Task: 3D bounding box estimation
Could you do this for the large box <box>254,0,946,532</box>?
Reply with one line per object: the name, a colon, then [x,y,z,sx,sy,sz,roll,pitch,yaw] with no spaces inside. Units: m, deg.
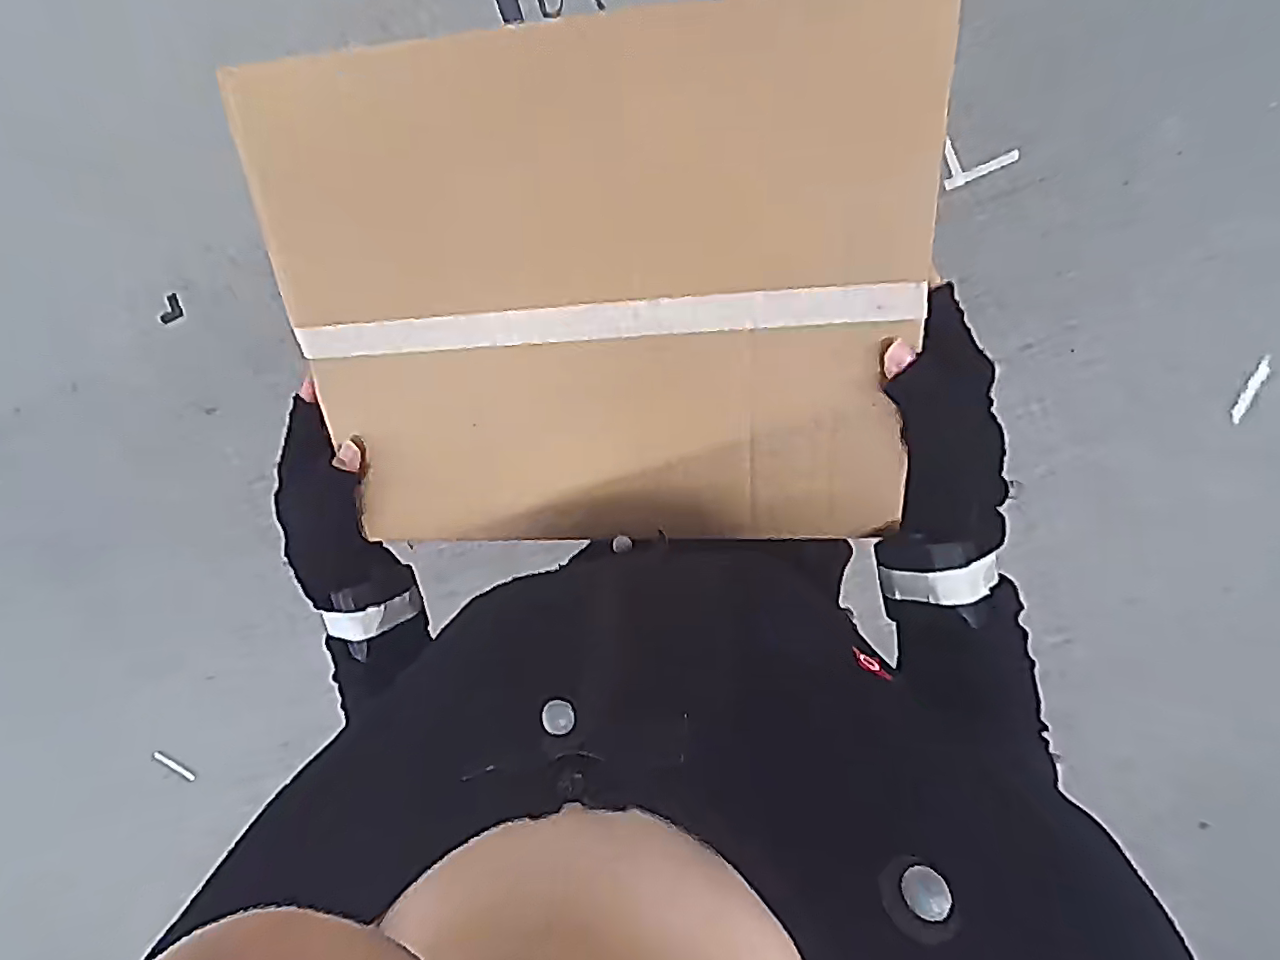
large box: [-0.012,-0.162,0.491,0.408,0.320,0.320,-1,114,8]
